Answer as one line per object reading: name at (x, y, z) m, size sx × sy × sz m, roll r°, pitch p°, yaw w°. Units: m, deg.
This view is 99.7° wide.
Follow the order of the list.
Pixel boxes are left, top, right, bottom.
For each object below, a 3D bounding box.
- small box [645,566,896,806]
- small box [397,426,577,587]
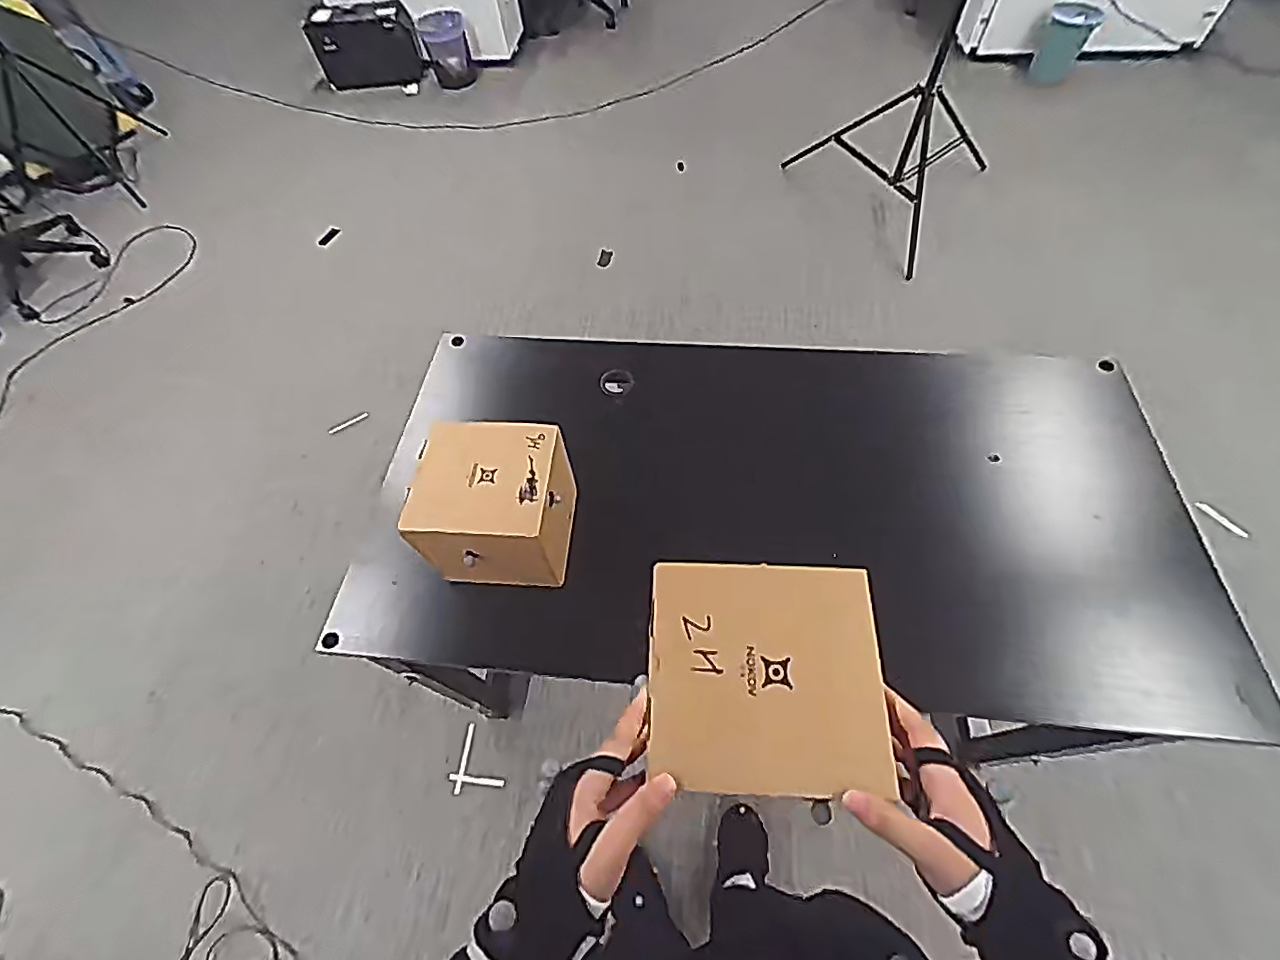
small box at (0.097, 0.183, 0.481) m, size 0.179 × 0.176 × 0.168 m, roll 1°, pitch 62°, yaw 4°
small box at (-0.196, 0.042, 0.748) m, size 0.179 × 0.176 × 0.168 m, roll 2°, pitch 59°, yaw 5°
